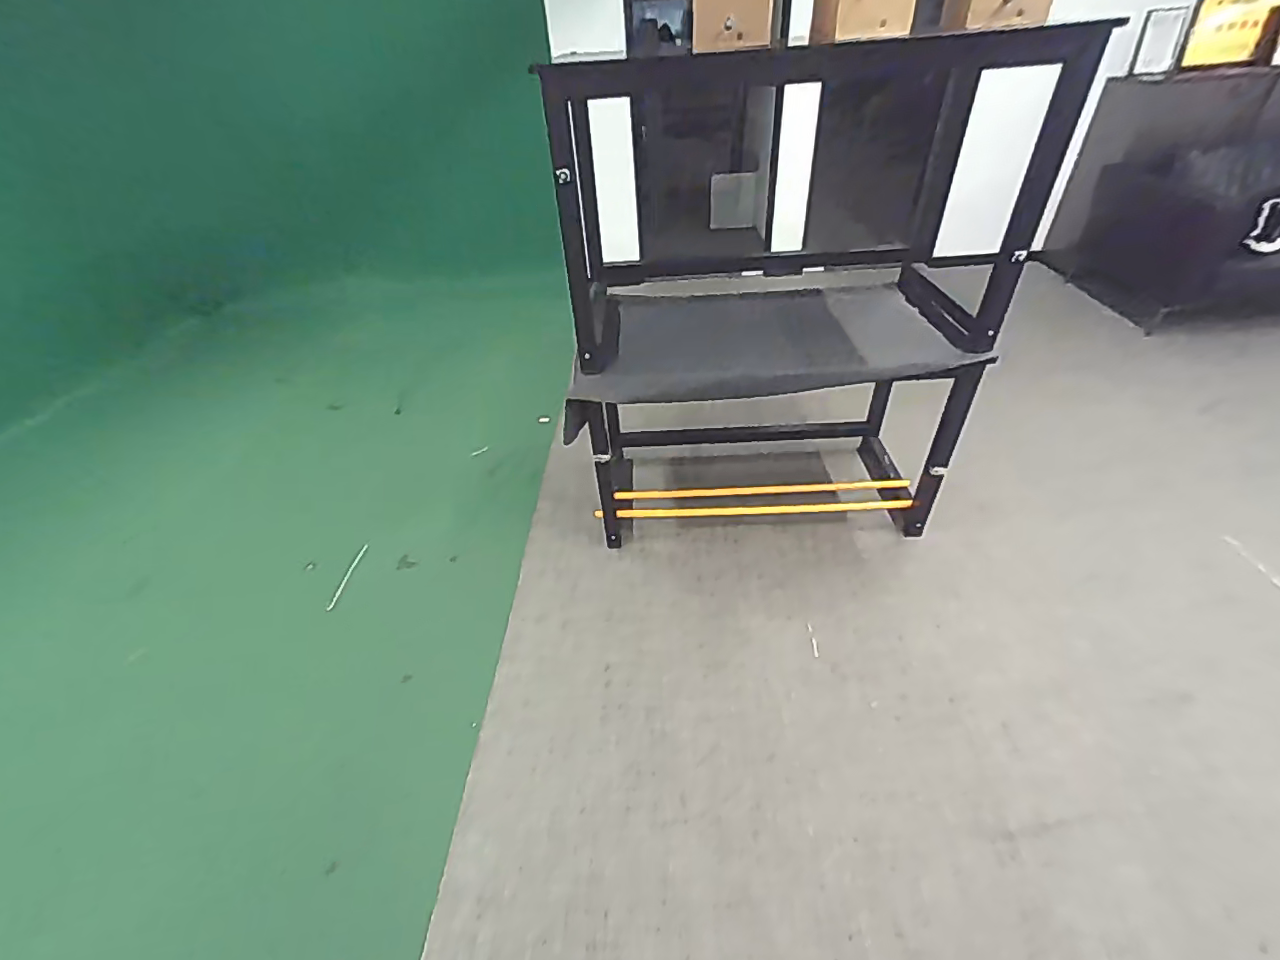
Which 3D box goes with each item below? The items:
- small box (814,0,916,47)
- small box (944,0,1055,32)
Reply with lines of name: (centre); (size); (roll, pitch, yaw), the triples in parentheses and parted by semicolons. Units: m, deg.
small box: (0.492, -1.058, 1.174); (0.168, 0.176, 0.179); (-6, 39, -1)
small box: (0.784, -1.077, 1.163); (0.168, 0.176, 0.179); (0, 40, 7)
